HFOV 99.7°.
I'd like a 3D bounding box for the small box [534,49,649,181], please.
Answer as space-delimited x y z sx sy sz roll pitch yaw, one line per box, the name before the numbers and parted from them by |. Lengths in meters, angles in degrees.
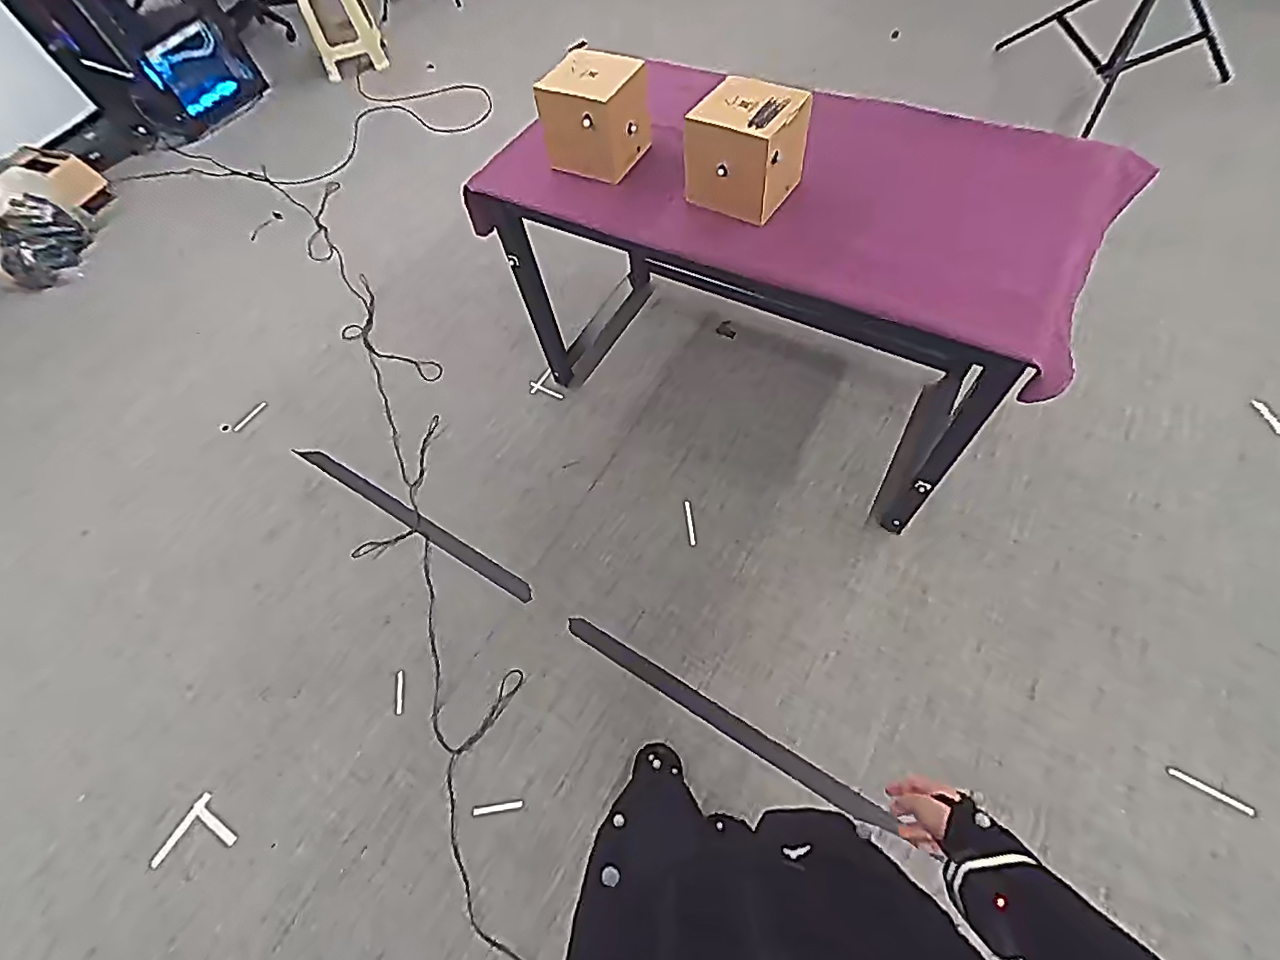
small box | -0.092 -0.772 1.152 0.179 0.176 0.168 23 65 18
